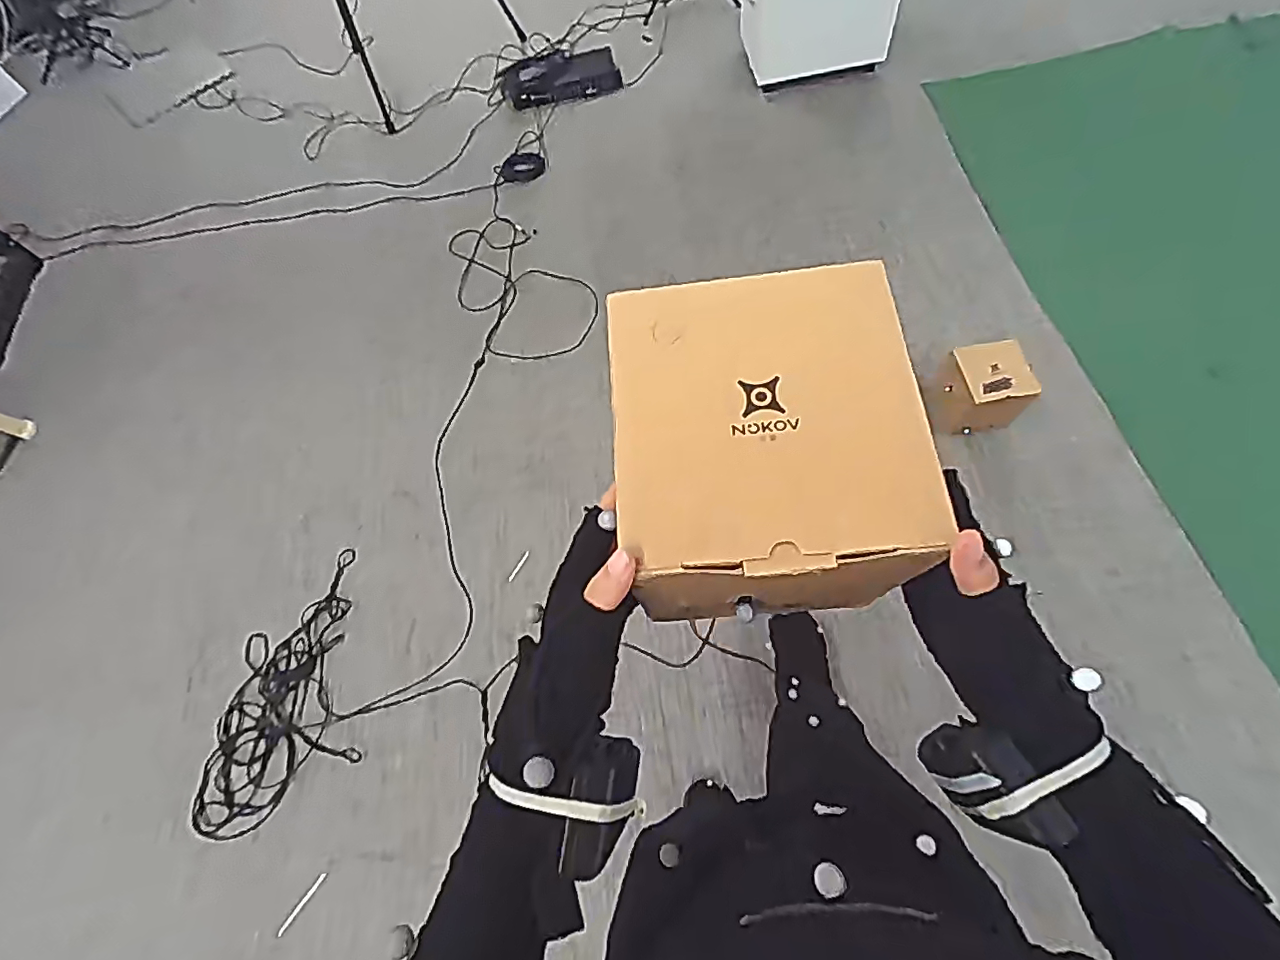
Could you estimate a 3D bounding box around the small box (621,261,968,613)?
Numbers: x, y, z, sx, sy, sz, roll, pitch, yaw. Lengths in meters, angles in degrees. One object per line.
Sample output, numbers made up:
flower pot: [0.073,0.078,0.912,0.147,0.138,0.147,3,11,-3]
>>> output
small box: [0.079,-0.015,0.368,0.168,0.176,0.179,-5,68,4]

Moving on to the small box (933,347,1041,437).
small box: [0.928,-0.230,1.465,0.168,0.176,0.179,-8,64,4]
